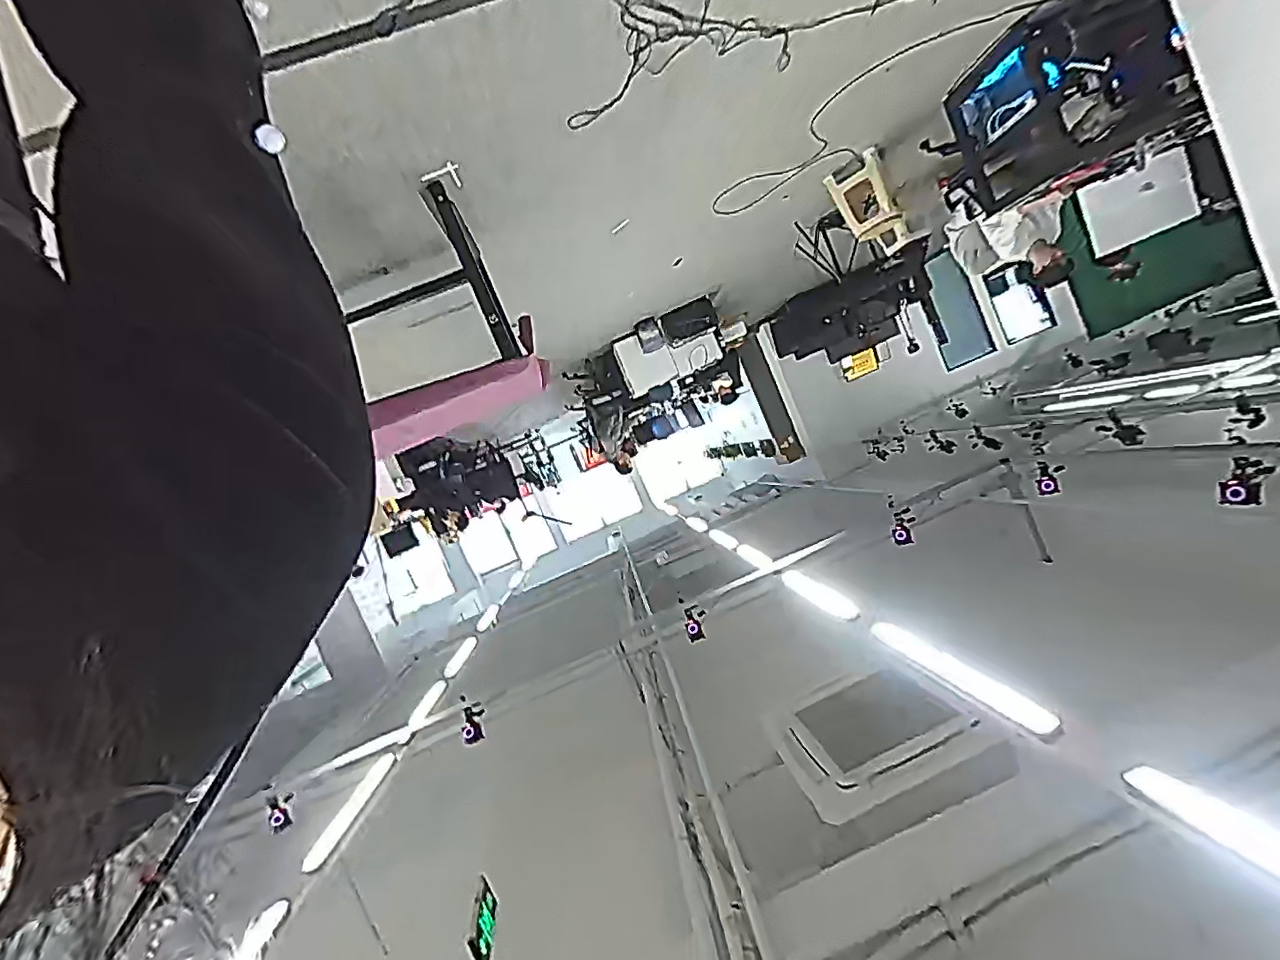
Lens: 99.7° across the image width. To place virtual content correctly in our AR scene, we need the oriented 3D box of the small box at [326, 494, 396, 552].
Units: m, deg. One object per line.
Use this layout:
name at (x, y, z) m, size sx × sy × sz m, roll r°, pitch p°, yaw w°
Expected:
small box at (-1.119, 0.166, 2.159) m, size 0.179 × 0.176 × 0.168 m, roll -24°, pitch -176°, yaw 1°
